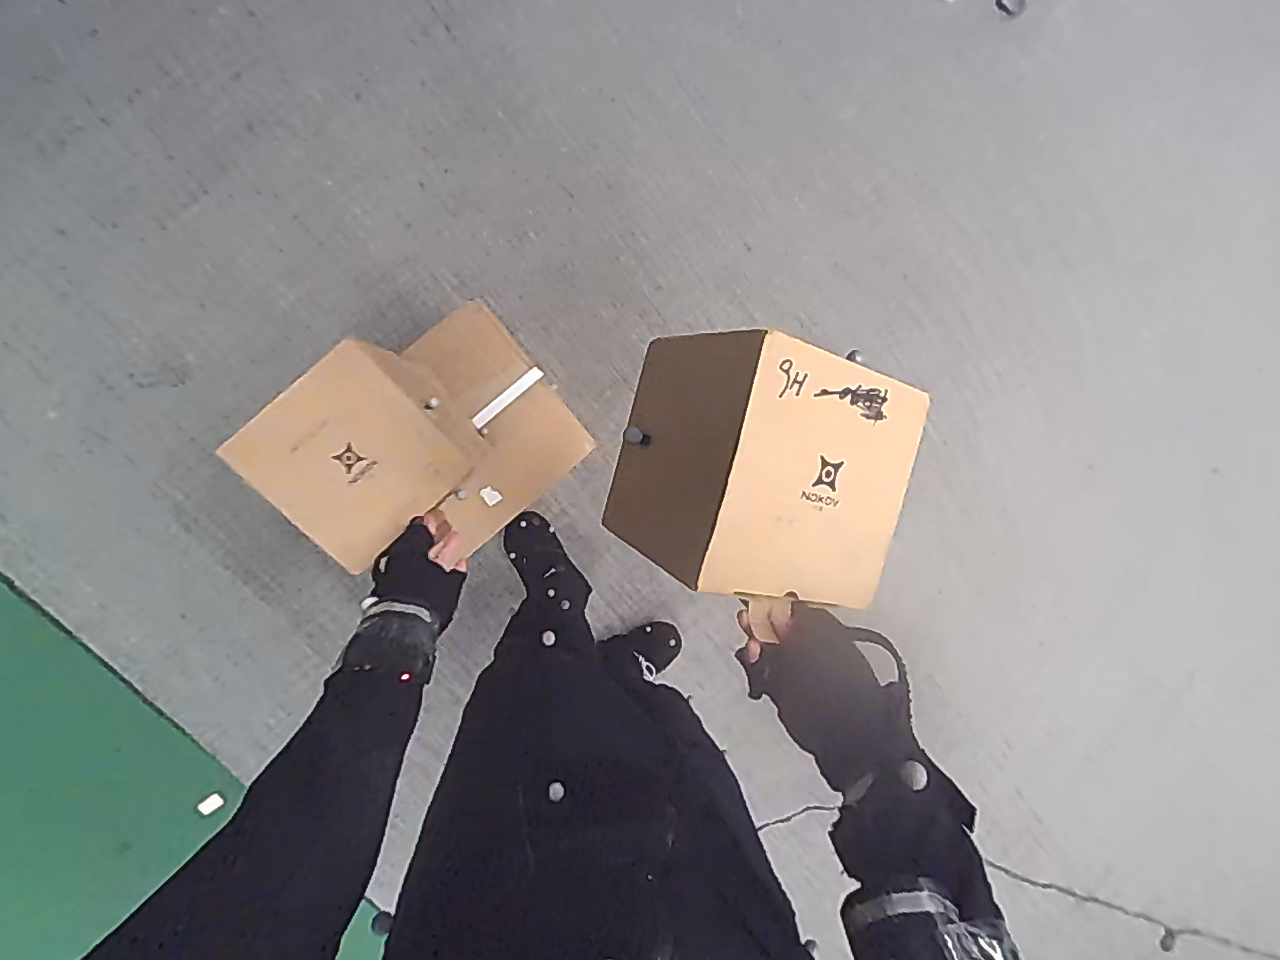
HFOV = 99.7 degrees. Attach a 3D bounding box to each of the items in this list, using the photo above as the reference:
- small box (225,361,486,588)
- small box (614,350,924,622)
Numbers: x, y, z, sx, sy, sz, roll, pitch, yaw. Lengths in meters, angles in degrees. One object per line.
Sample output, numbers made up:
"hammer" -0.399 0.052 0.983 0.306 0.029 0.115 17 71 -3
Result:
"small box" -0.297 -0.014 0.616 0.168 0.176 0.179 -44 102 -2
"small box" 0.092 -0.001 0.458 0.168 0.176 0.179 12 96 -27
